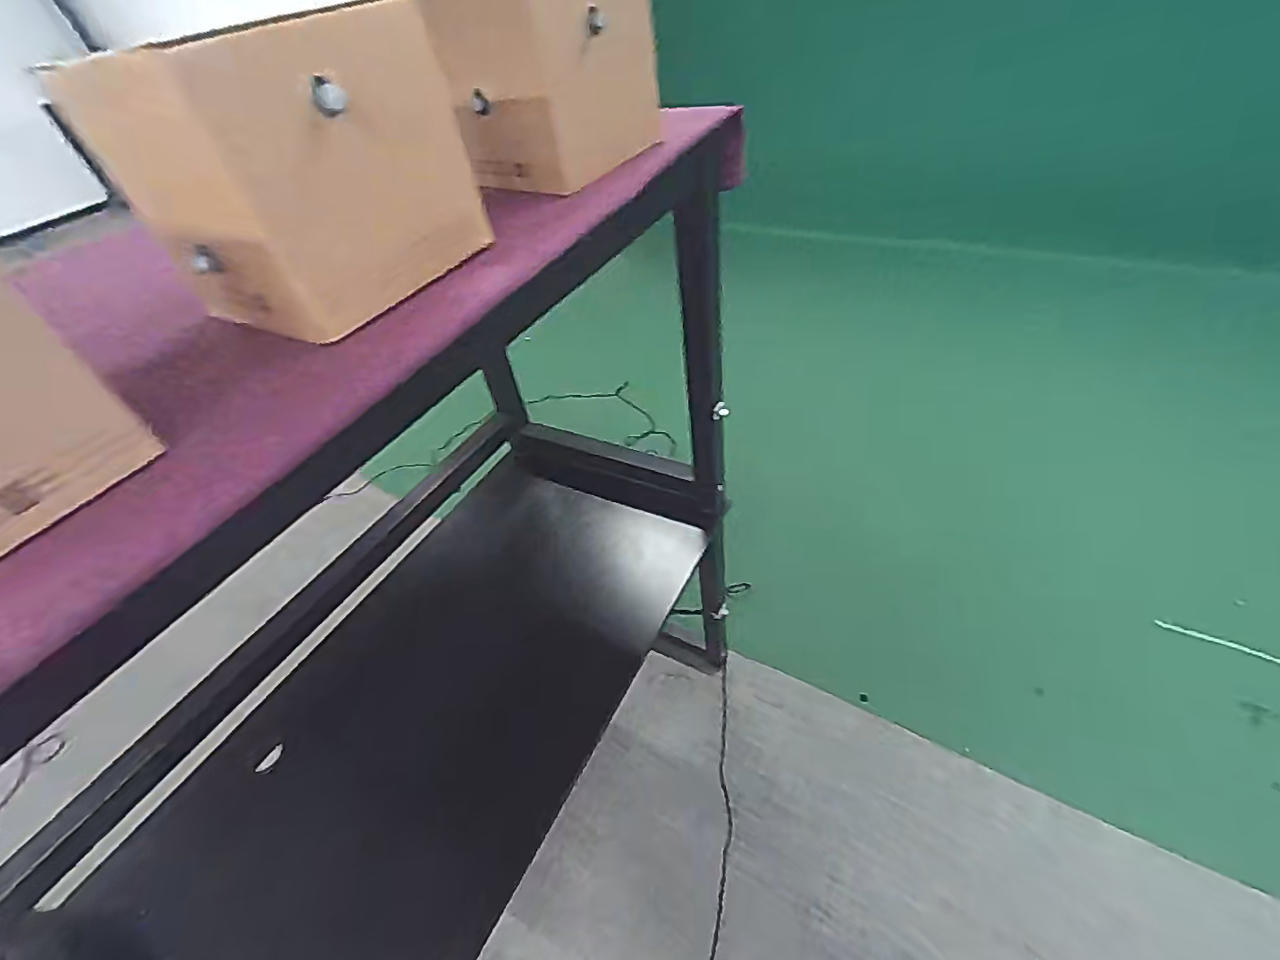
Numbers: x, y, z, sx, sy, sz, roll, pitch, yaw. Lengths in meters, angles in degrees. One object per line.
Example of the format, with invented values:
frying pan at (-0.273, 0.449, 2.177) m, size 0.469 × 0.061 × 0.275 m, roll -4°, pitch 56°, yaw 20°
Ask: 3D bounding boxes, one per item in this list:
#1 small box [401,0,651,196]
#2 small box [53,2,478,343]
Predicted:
small box at (-0.101, -0.418, 0.568) m, size 0.168 × 0.176 × 0.179 m, roll 21°, pitch 53°, yaw 27°
small box at (-0.248, -0.229, 0.408) m, size 0.168 × 0.176 × 0.179 m, roll 17°, pitch 52°, yaw 27°
